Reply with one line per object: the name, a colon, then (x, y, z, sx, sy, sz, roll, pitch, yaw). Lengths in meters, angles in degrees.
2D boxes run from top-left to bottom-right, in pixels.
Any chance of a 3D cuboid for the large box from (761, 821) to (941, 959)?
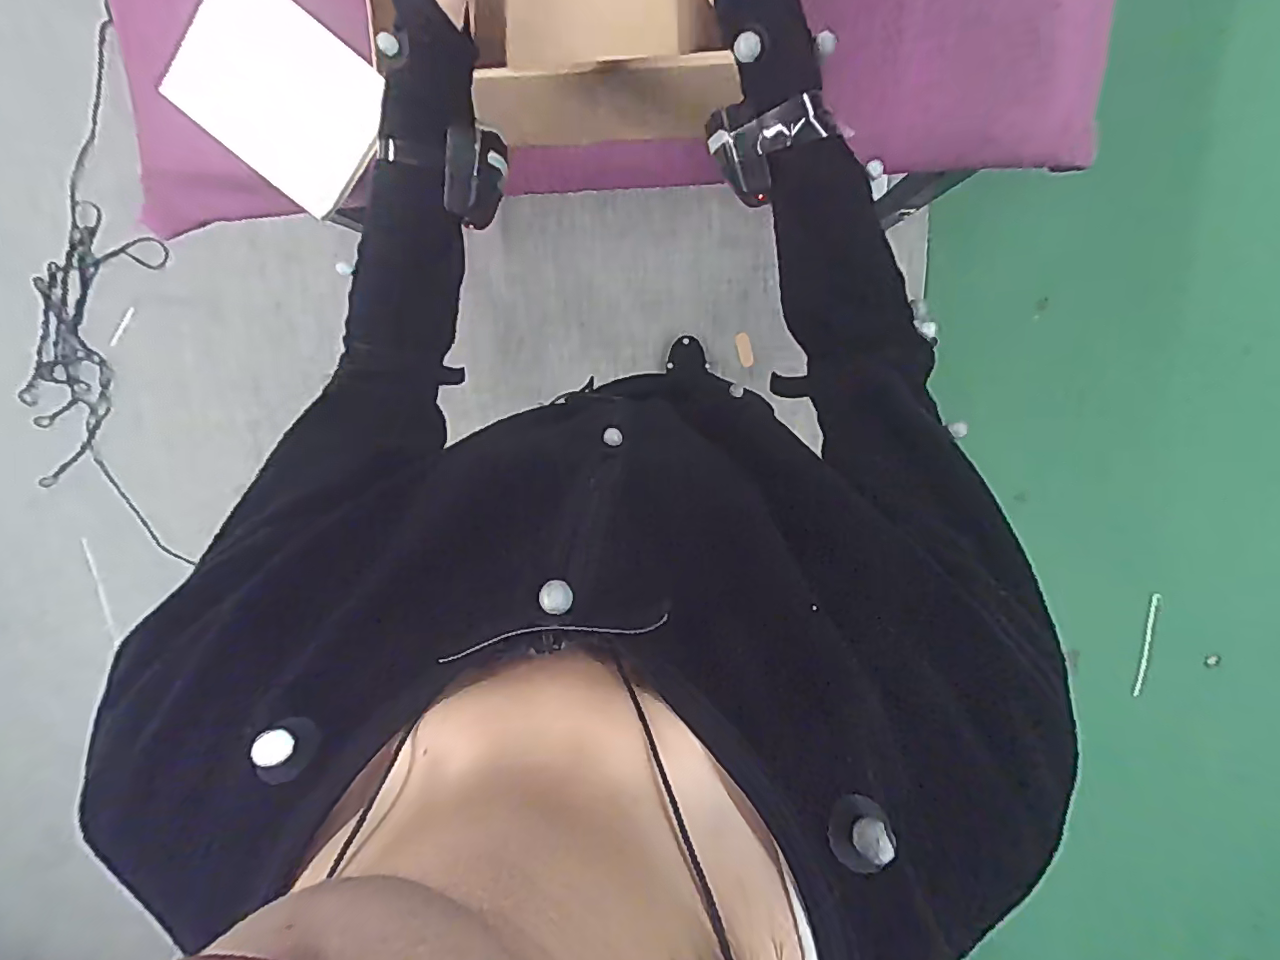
large box: (0.610, 1.282, 1.586, 0.408, 0.320, 0.320, -16, 101, 7)
